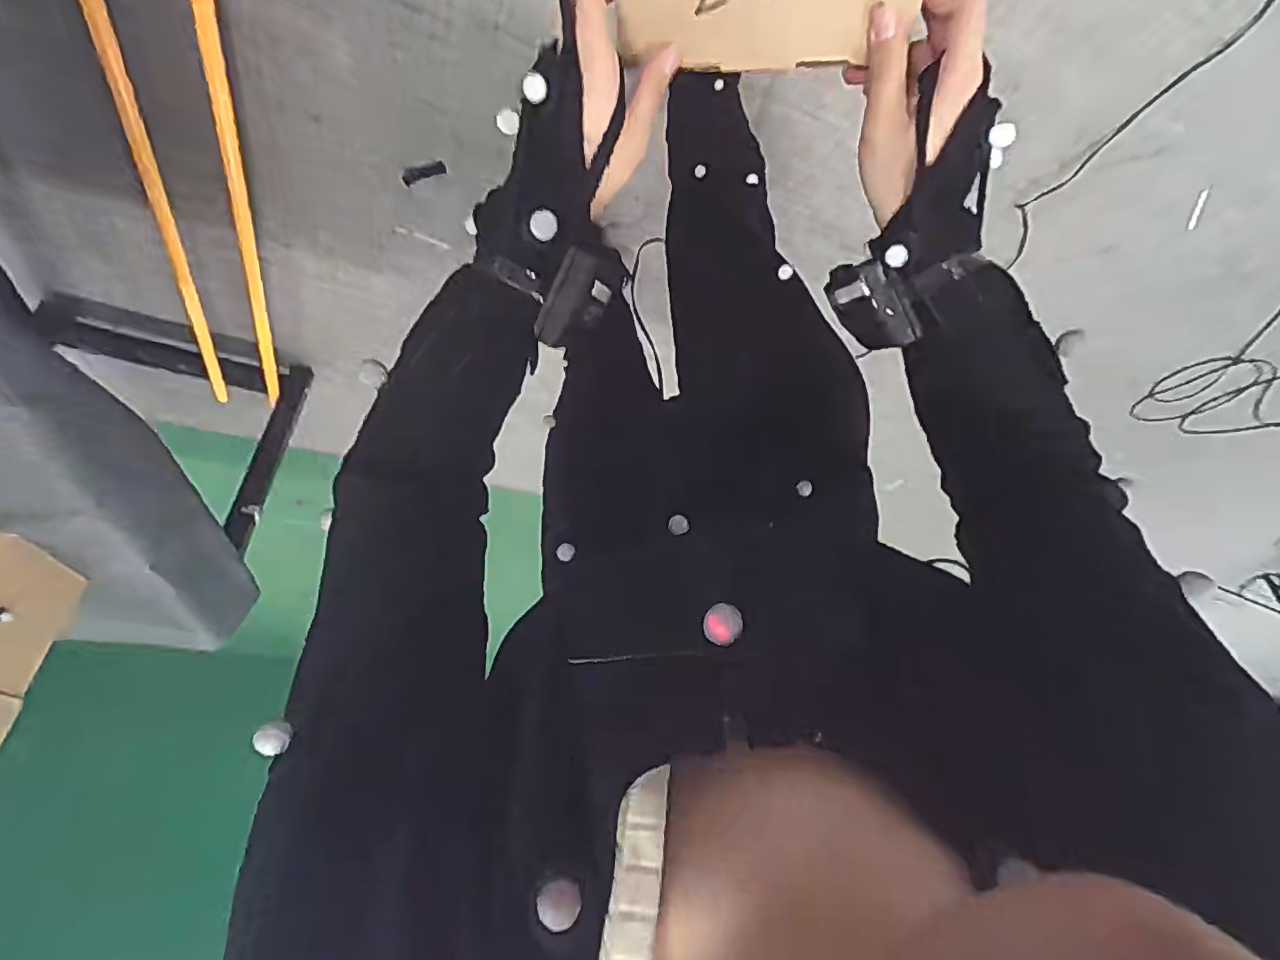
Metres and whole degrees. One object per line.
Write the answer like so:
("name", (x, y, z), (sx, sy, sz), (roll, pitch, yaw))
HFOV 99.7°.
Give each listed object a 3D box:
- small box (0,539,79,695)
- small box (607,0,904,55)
("small box", (-0.860, 0.156, 0.656), (0.168, 0.176, 0.179), (12, 149, -16))
("small box", (0.069, -0.366, 0.301), (0.168, 0.176, 0.179), (4, 142, 5))
